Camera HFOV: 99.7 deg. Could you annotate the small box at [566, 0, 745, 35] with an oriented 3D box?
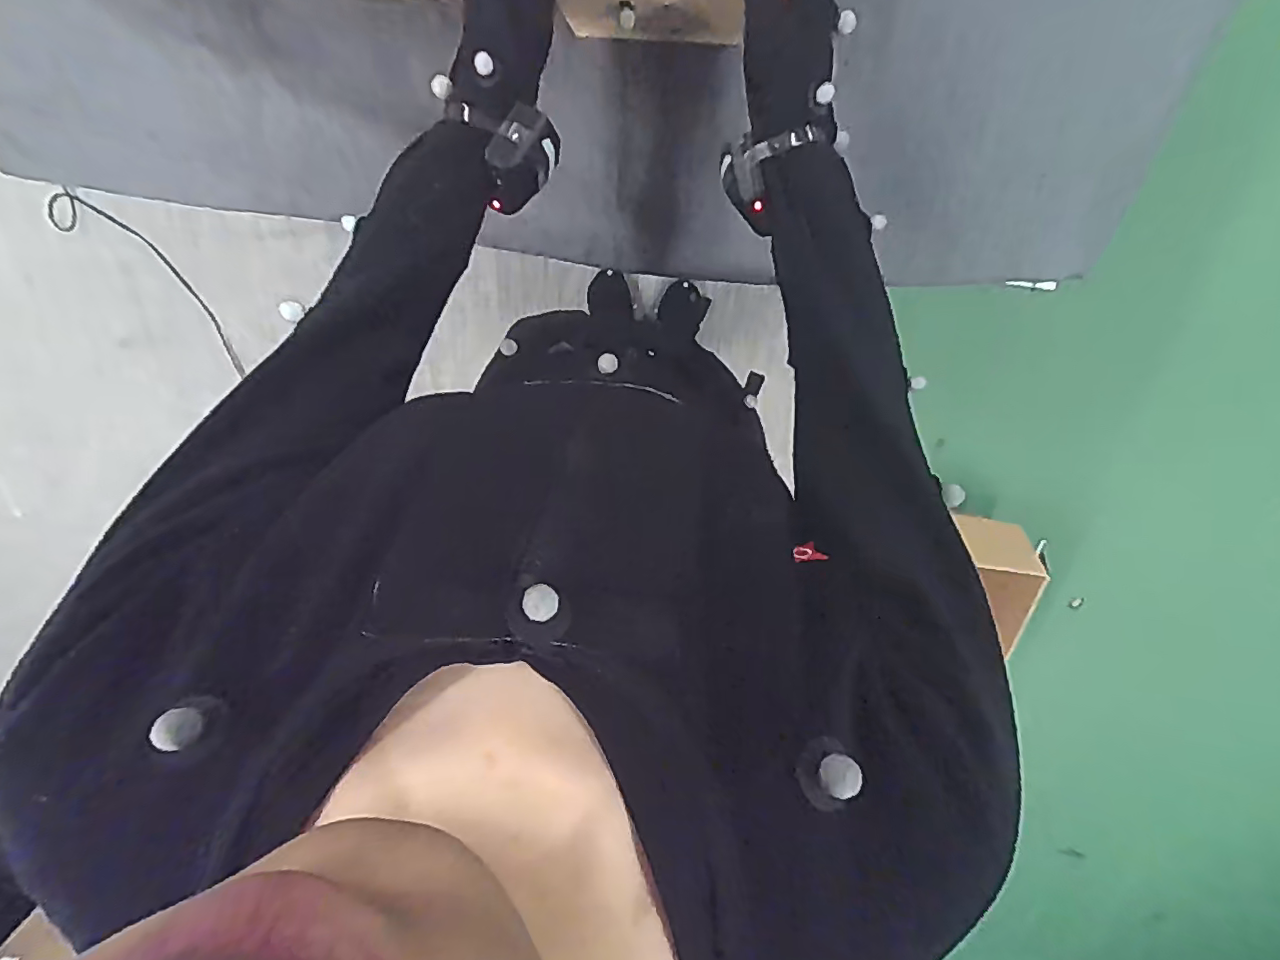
[{"bbox_3d":[0.015,-0.487,0.431,0.168,0.176,0.179,4,115,2],"label":"small box"}]
